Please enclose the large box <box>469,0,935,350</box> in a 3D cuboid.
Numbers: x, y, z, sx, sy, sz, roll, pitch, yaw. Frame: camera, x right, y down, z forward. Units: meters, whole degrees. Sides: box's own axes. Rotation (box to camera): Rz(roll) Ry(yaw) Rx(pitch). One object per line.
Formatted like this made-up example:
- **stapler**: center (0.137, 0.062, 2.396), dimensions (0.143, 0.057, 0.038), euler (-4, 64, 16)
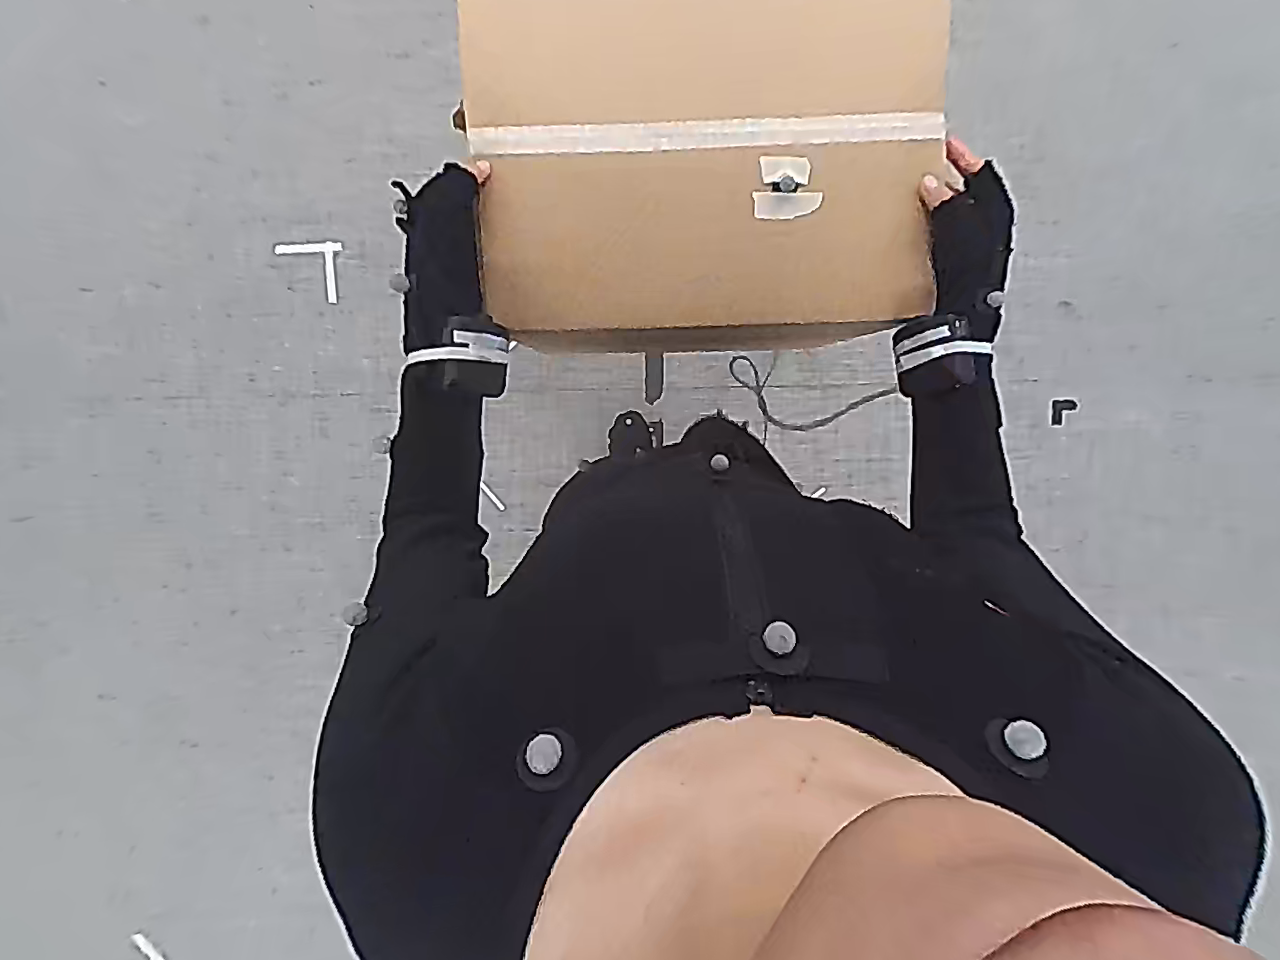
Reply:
- **large box**: center (0.054, -0.327, 0.623), dimensions (0.408, 0.320, 0.320), euler (-2, 100, -1)
